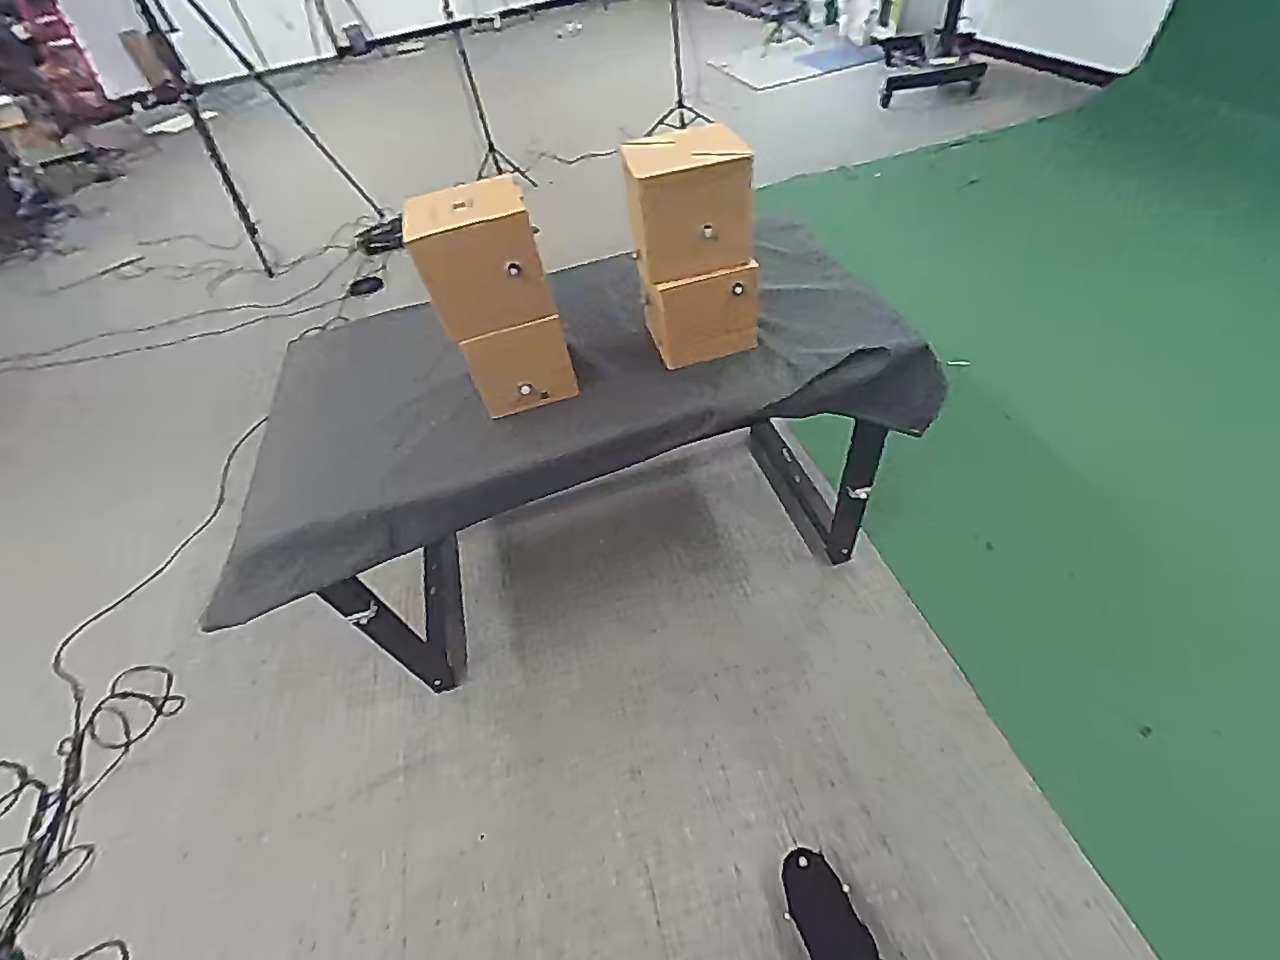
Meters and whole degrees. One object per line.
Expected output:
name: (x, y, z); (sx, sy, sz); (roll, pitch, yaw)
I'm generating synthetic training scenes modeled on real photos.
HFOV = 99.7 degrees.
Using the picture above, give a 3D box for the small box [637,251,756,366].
small box: (0.105, -0.336, 1.005); (0.179, 0.176, 0.168); (-15, 49, -4)

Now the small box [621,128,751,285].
small box: (0.076, -0.454, 0.889); (0.179, 0.176, 0.168); (-13, 48, -1)

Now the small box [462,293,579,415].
small box: (-0.220, -0.249, 0.984); (0.168, 0.176, 0.179); (-17, 50, -5)

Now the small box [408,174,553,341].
small box: (-0.246, -0.351, 0.860); (0.179, 0.176, 0.168); (-19, 48, -5)
